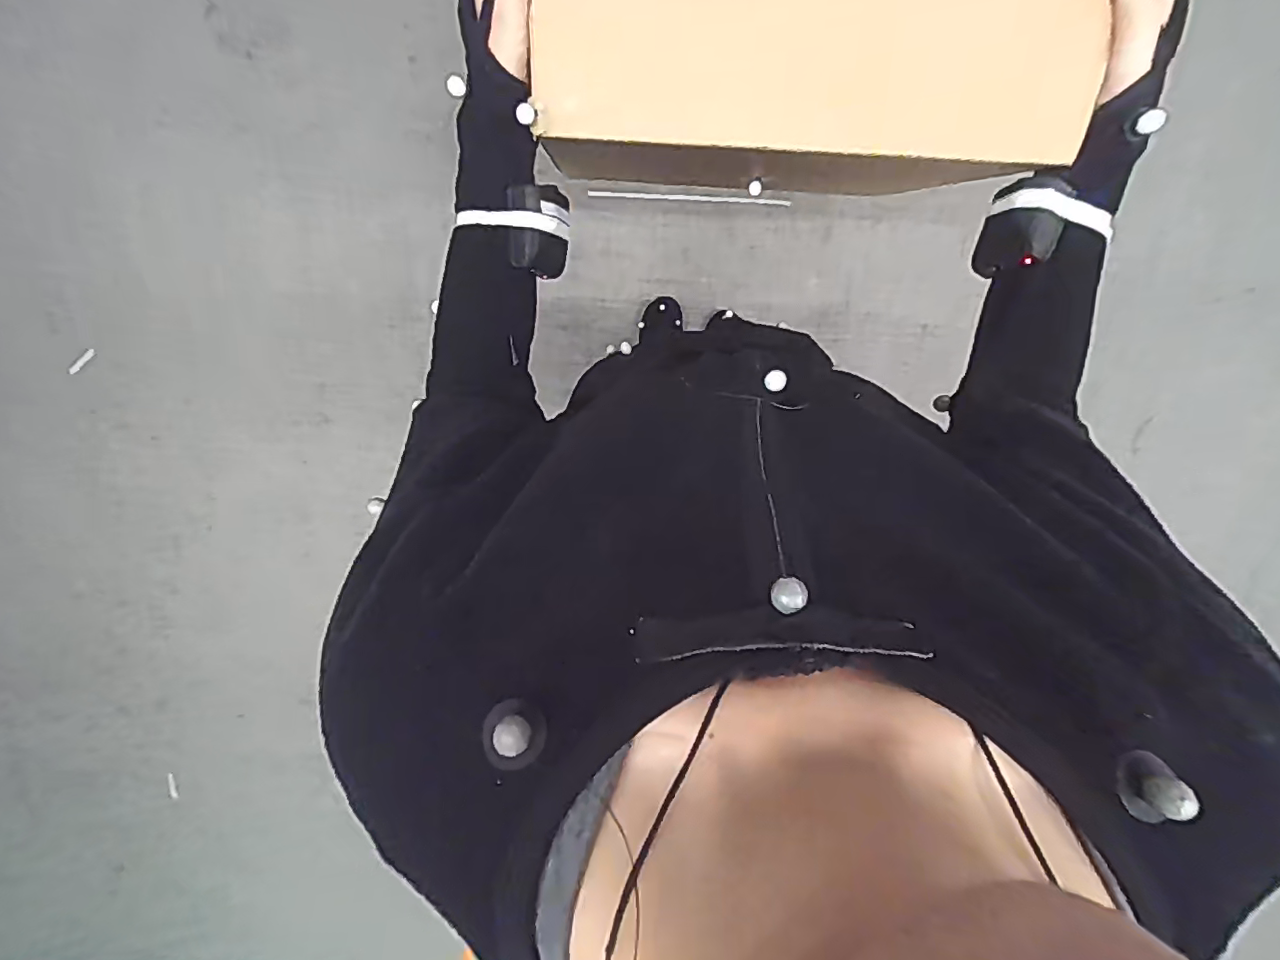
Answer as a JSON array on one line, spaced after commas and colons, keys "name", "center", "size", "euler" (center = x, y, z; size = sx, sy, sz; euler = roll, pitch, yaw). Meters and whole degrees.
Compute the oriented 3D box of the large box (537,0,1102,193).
[{"name": "large box", "center": [0.126, -0.443, 0.487], "size": [0.408, 0.320, 0.320], "euler": [1, 113, -3]}]
